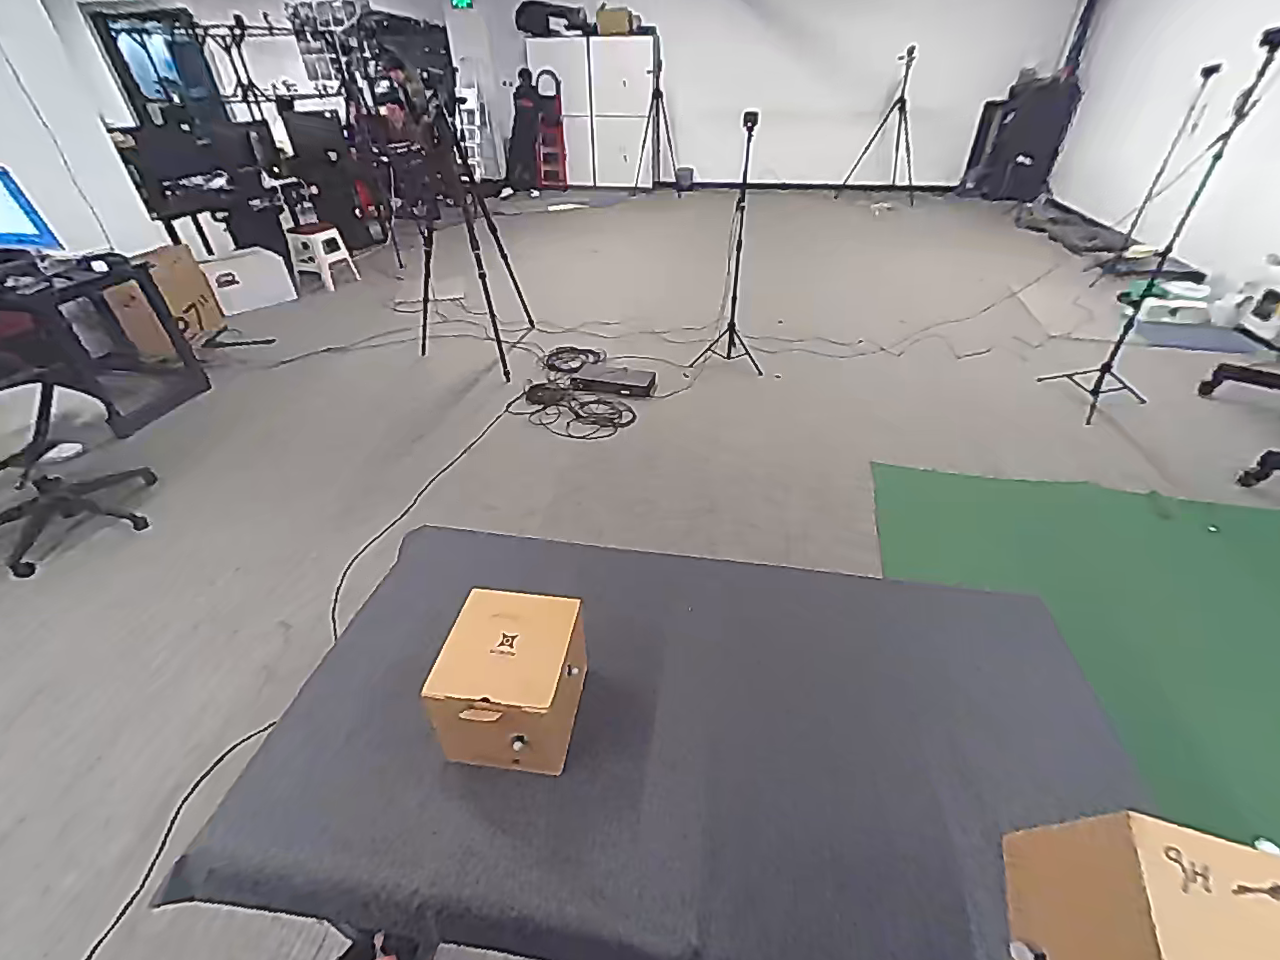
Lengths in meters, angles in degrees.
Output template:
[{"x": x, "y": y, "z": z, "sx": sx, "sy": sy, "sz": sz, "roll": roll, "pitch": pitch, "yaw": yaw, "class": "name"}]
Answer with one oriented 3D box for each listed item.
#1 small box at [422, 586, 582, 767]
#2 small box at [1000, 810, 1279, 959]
[{"x": -0.179, "y": 0.279, "z": 0.769, "sx": 0.168, "sy": 0.176, "sz": 0.179, "roll": 5, "pitch": 36, "yaw": 5, "class": "small box"}, {"x": 0.375, "y": 0.353, "z": 0.363, "sx": 0.168, "sy": 0.176, "sz": 0.179, "roll": 14, "pitch": 55, "yaw": 10, "class": "small box"}]
